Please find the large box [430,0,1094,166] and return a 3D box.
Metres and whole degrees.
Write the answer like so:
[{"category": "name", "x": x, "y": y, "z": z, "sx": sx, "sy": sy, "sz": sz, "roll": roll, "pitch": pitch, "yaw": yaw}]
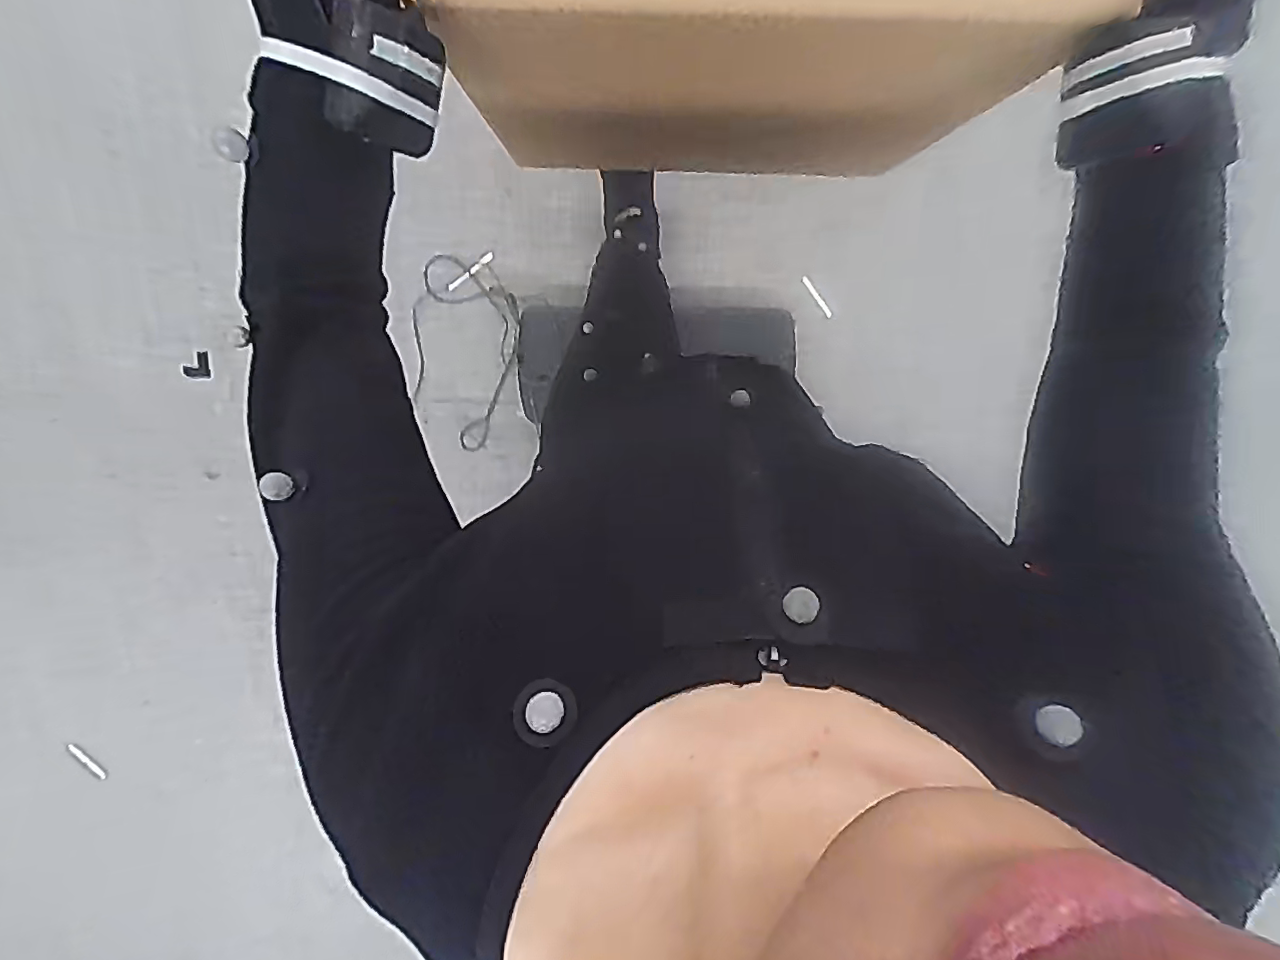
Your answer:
[{"category": "large box", "x": 0.067, "y": -0.459, "z": 0.416, "sx": 0.408, "sy": 0.320, "sz": 0.320, "roll": 0, "pitch": 105, "yaw": -1}]
